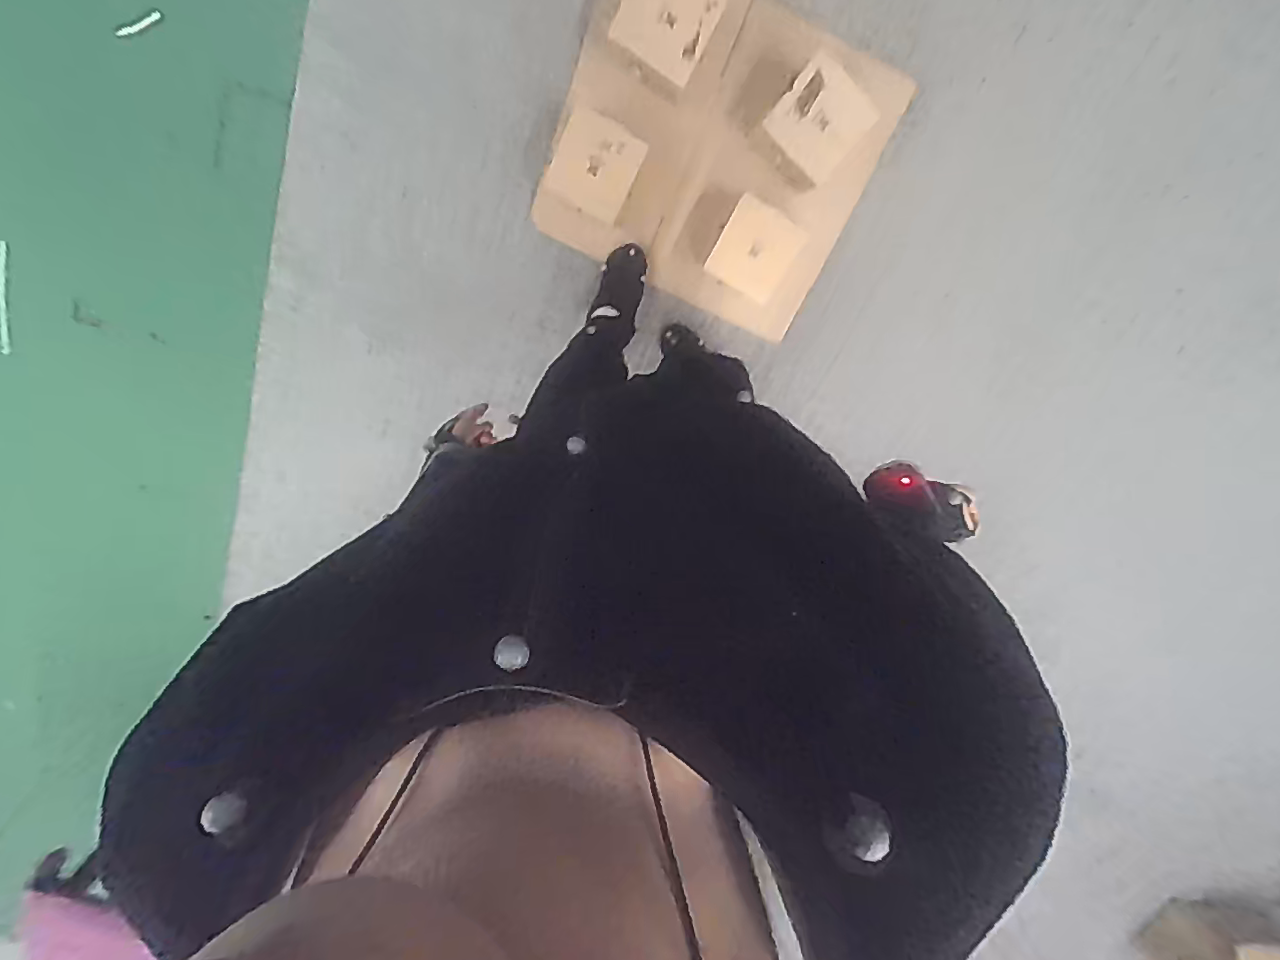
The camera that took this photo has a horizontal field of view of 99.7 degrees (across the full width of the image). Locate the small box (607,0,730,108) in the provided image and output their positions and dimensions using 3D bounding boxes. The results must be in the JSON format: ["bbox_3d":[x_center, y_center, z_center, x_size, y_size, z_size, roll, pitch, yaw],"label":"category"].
[{"bbox_3d":[0.053,-0.883,1.077,0.179,0.176,0.168,29,111,-10],"label":"small box"}]

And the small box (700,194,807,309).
[{"bbox_3d":[0.247,-0.515,1.228,0.168,0.176,0.179,27,111,-10],"label":"small box"}]

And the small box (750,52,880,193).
[{"bbox_3d":[0.354,-0.729,1.131,0.179,0.176,0.168,38,109,-15],"label":"small box"}]

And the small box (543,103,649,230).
[{"bbox_3d":[-0.088,-0.665,1.175,0.168,0.176,0.179,28,111,-10],"label":"small box"}]
